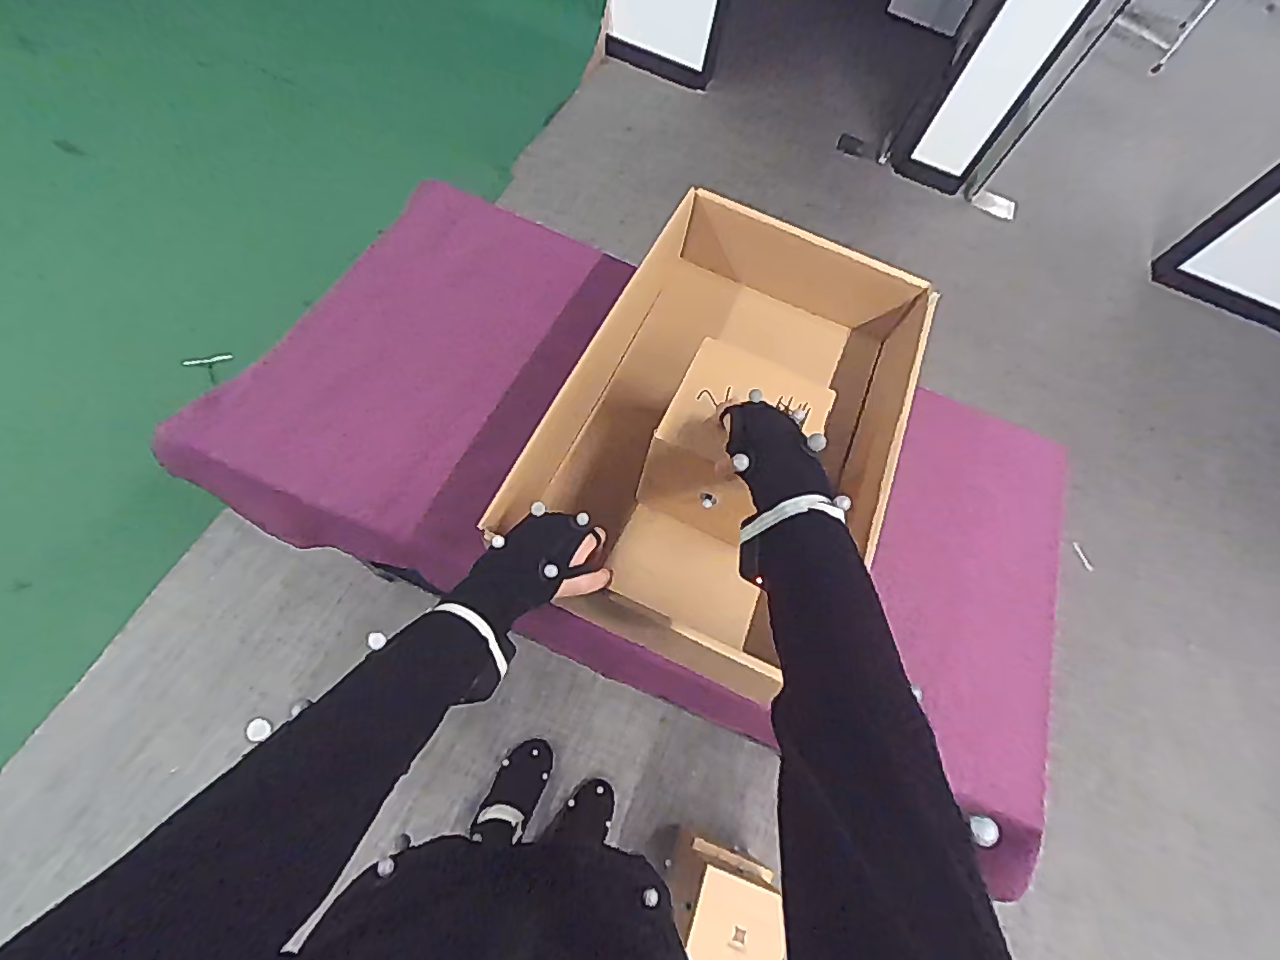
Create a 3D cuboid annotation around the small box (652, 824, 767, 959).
[{"bbox_3d":[0.142,0.862,1.152,0.179,0.176,0.168,23,65,3],"label":"small box"}]
